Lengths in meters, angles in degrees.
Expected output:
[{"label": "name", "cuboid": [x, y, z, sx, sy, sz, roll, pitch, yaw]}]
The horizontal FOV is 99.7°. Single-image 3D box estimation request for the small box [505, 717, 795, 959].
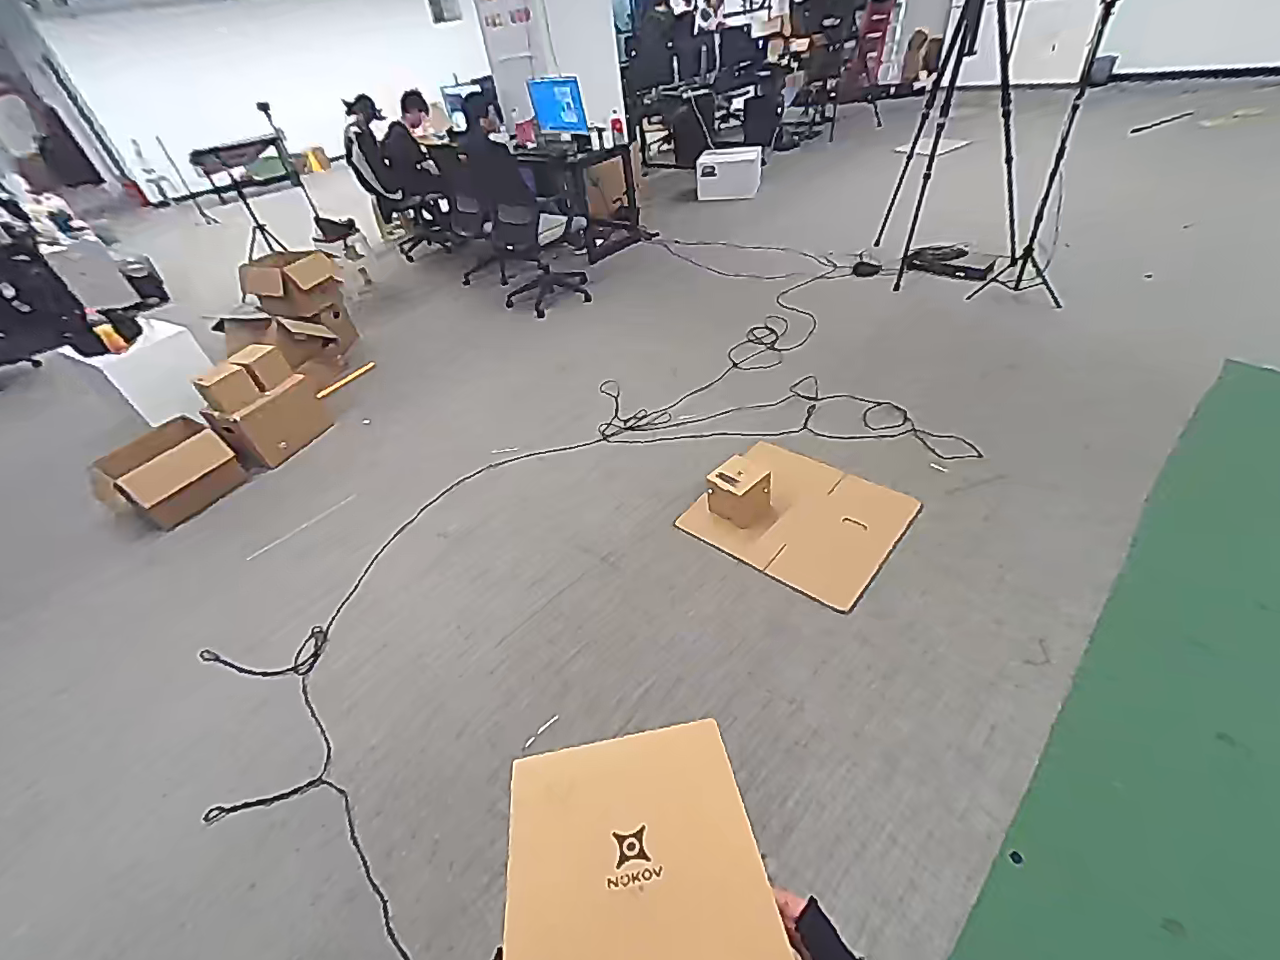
[{"label": "small box", "cuboid": [0.002, 0.314, 0.396, 0.168, 0.176, 0.179, -9, 29, -6]}]
